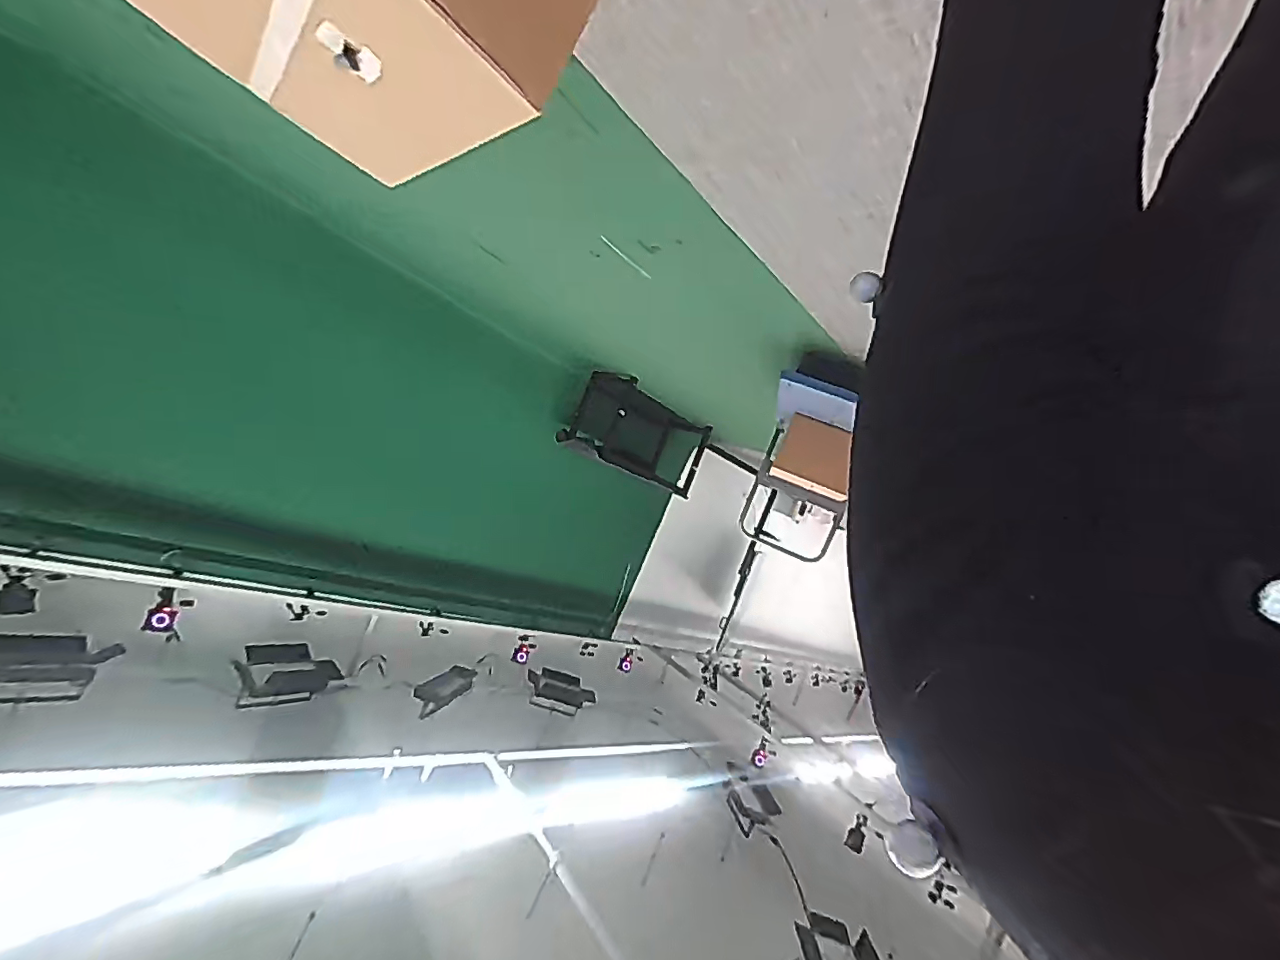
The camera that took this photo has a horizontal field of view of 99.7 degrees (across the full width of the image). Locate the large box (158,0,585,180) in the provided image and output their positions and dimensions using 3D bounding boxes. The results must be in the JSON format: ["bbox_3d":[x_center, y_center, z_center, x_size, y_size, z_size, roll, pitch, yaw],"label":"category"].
[{"bbox_3d":[-0.230,-0.530,0.463,0.320,0.320,0.408,29,174,-43],"label":"large box"}]
